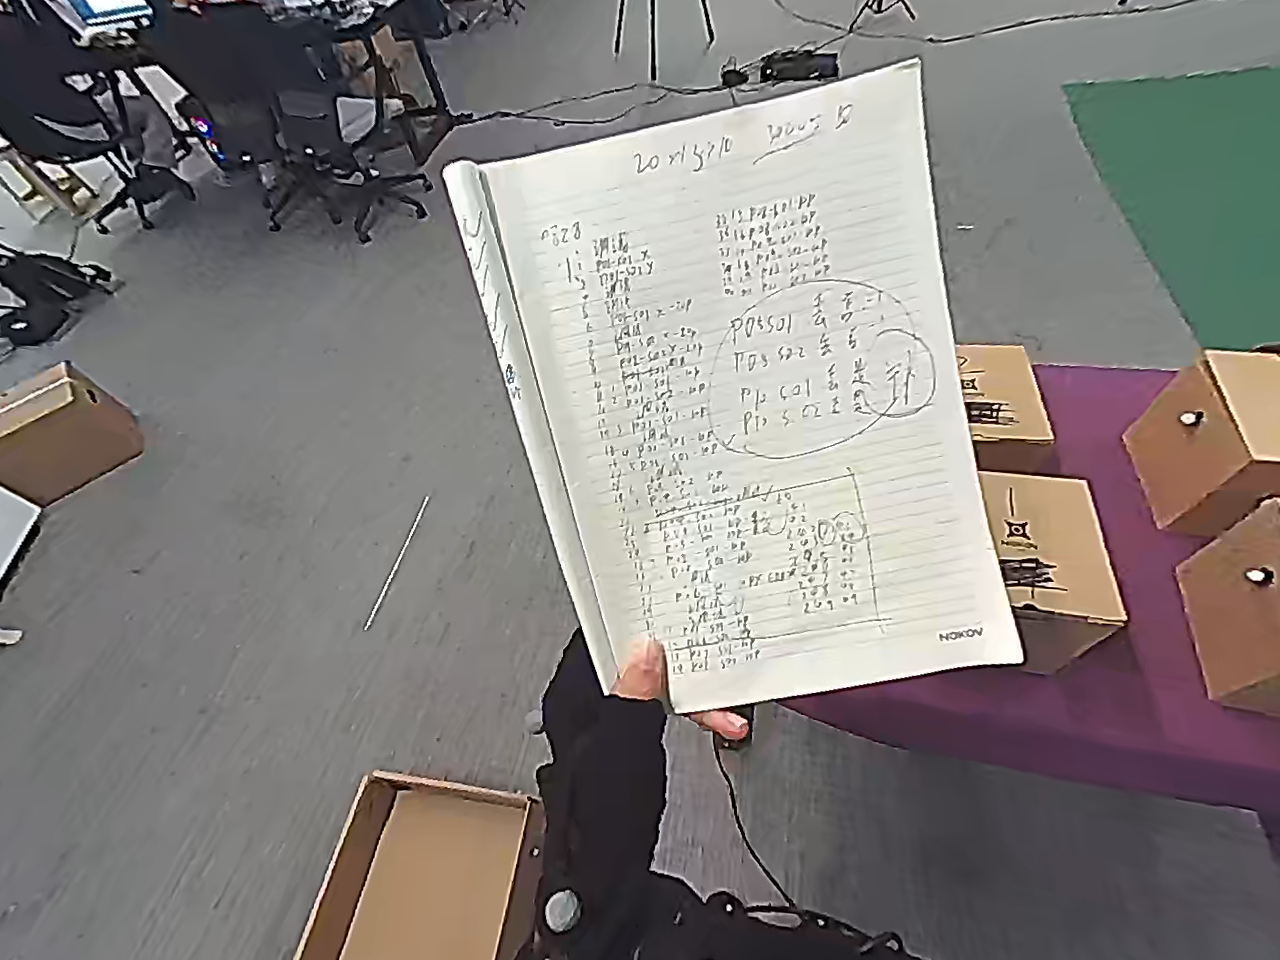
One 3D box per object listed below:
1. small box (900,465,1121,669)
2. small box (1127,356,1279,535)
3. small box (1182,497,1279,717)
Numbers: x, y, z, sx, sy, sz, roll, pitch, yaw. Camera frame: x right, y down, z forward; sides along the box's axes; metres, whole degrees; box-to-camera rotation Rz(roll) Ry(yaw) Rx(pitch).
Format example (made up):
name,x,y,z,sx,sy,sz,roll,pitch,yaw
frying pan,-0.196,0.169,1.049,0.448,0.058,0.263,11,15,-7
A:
name,x,y,z,sx,sy,sz,roll,pitch,yaw
small box,0.420,0.107,0.648,0.168,0.176,0.179,7,56,15
small box,0.784,-0.036,0.693,0.168,0.176,0.179,5,55,14
small box,0.730,0.146,0.566,0.168,0.176,0.179,10,57,17
